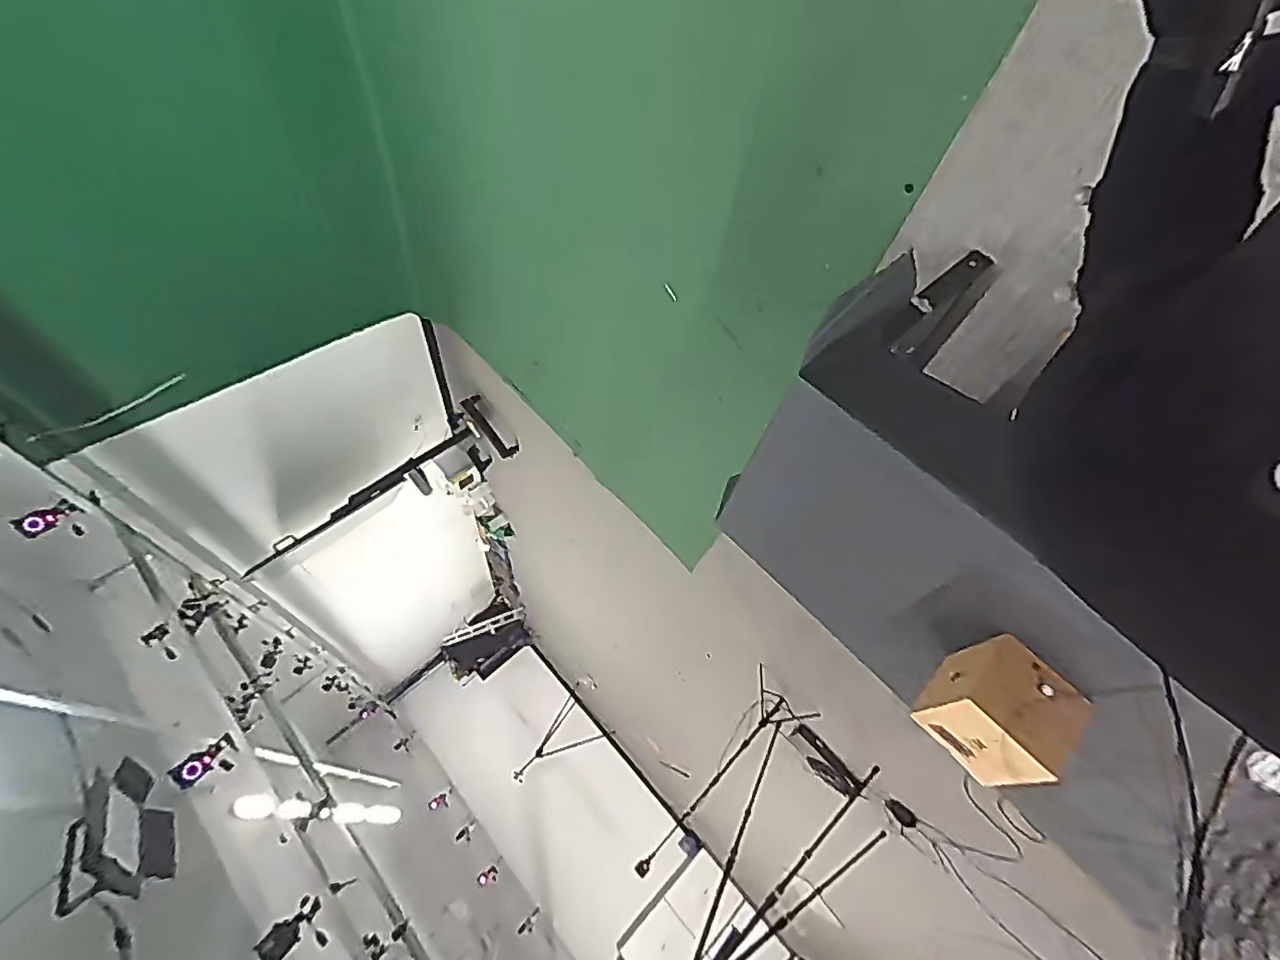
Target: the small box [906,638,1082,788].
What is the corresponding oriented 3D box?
[{"bbox_3d":[0.627,0.414,0.963,0.168,0.176,0.179,45,151,17],"label":"small box"}]
